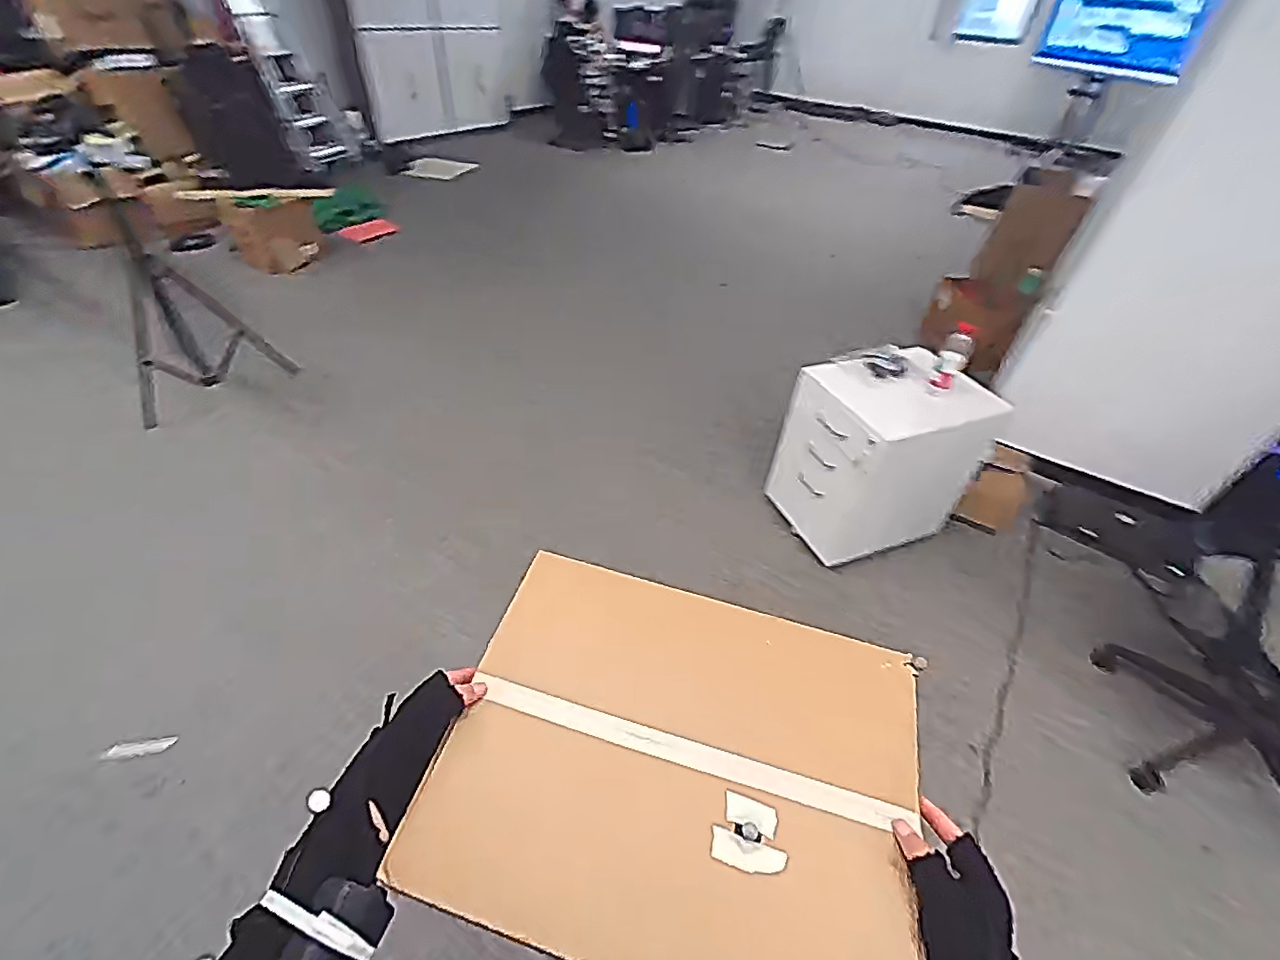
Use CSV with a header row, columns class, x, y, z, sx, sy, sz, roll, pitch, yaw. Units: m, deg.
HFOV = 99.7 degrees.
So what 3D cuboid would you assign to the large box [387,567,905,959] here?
class,x,y,z,sx,sy,sz,roll,pitch,yaw
large box,0.020,0.348,0.598,0.408,0.320,0.320,14,49,7
